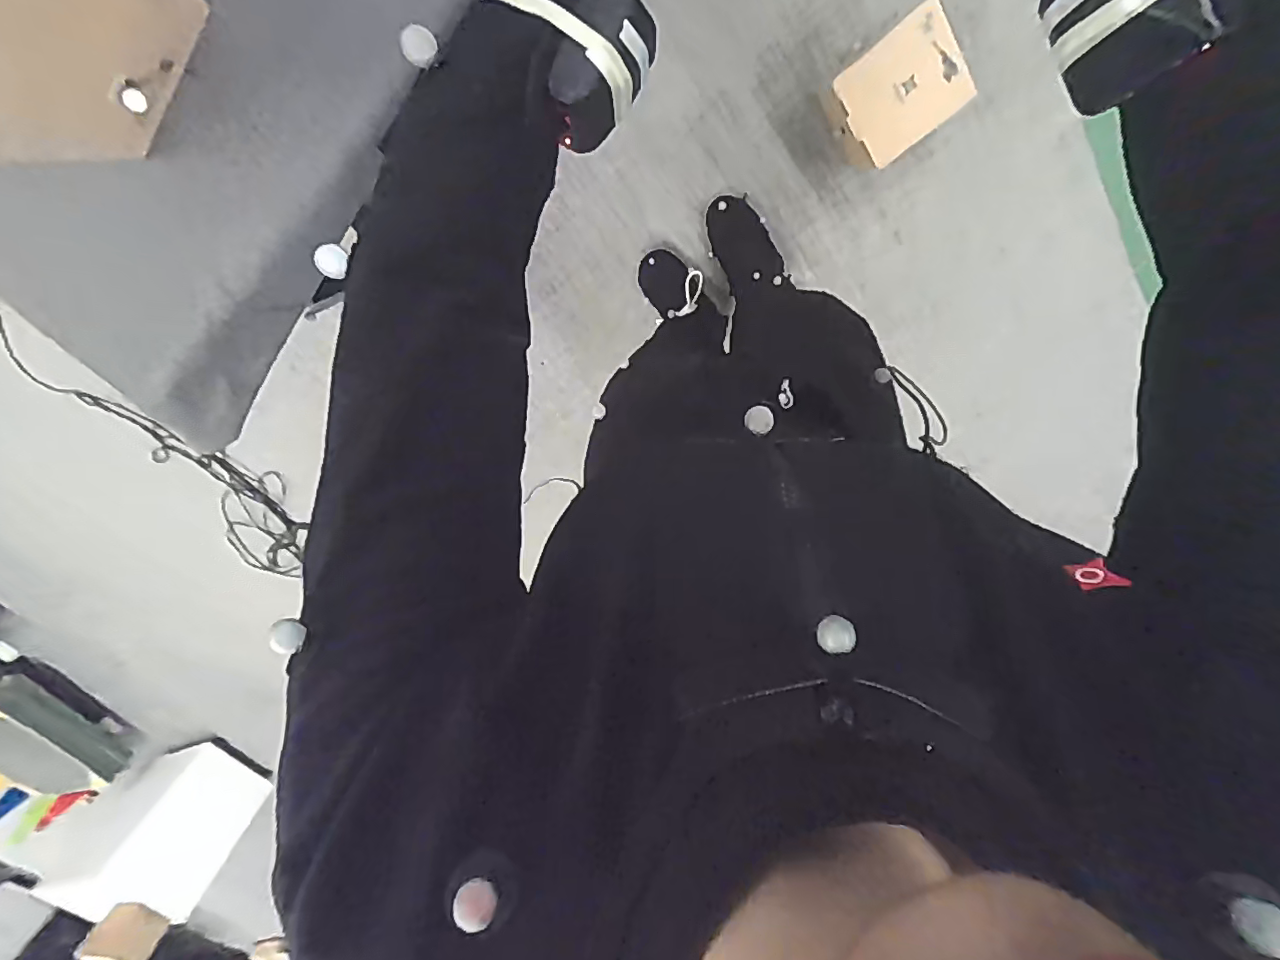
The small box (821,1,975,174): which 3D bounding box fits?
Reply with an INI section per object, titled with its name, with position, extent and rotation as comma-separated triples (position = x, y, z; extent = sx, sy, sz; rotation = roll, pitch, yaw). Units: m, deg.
[small box]
position = 0.437, -0.670, 0.949
extent = 0.179, 0.176, 0.168
rotation = -33, 111, 24
